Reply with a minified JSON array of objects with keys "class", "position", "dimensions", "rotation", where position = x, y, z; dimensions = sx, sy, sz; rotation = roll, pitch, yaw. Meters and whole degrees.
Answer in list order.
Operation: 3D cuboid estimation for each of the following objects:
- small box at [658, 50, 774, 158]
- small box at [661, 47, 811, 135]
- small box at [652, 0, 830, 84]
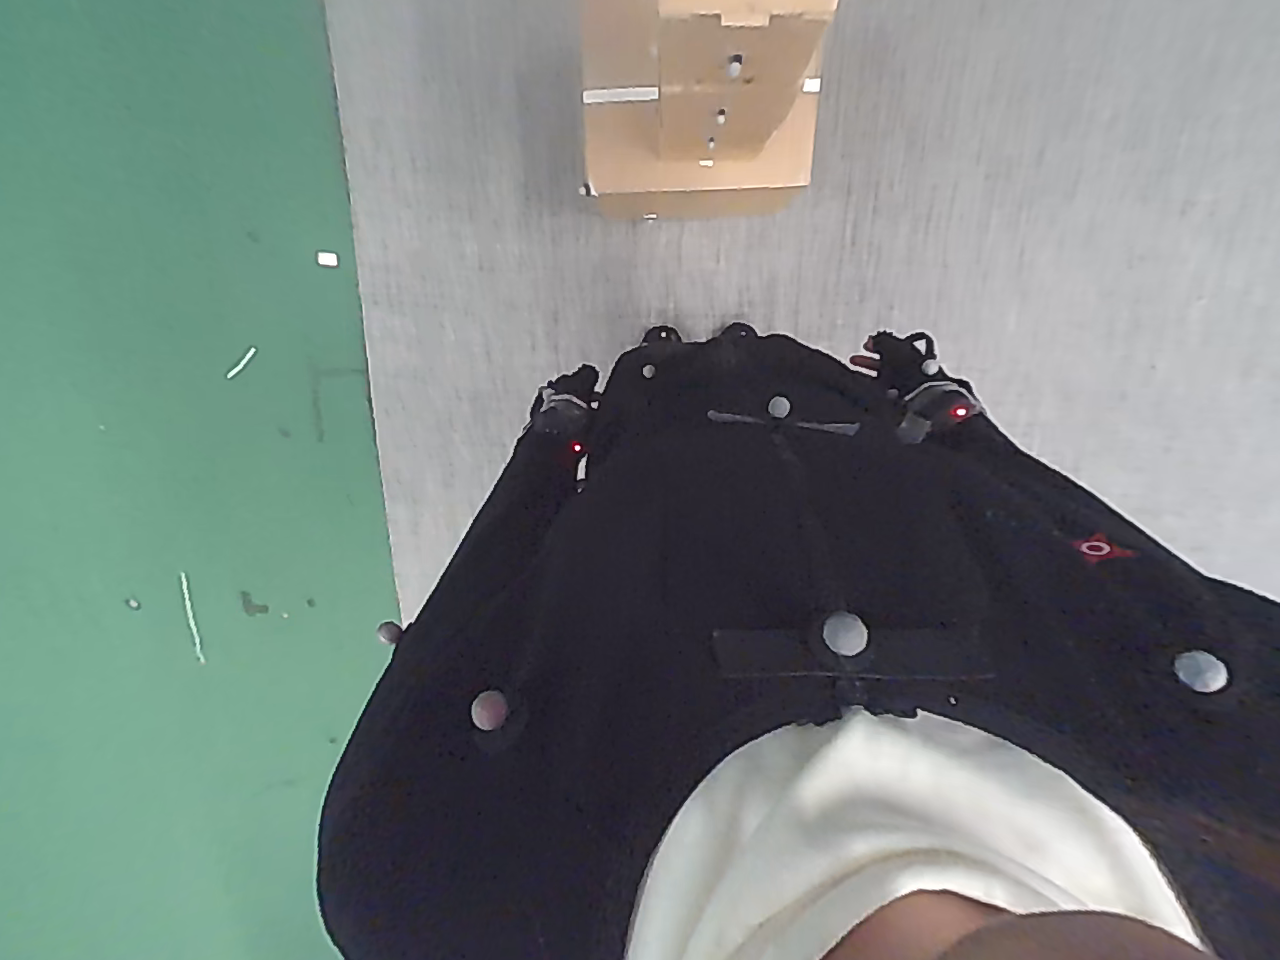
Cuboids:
[{"class":"small box","position":[0.120,-0.627,0.862],"dimensions":[0.179,0.176,0.168],"rotation":[1,108,2]},{"class":"small box","position":[0.116,-0.572,0.707],"dimensions":[0.179,0.176,0.168],"rotation":[-2,108,4]},{"class":"small box","position":[0.104,-0.532,0.549],"dimensions":[0.168,0.176,0.179],"rotation":[4,109,3]}]
